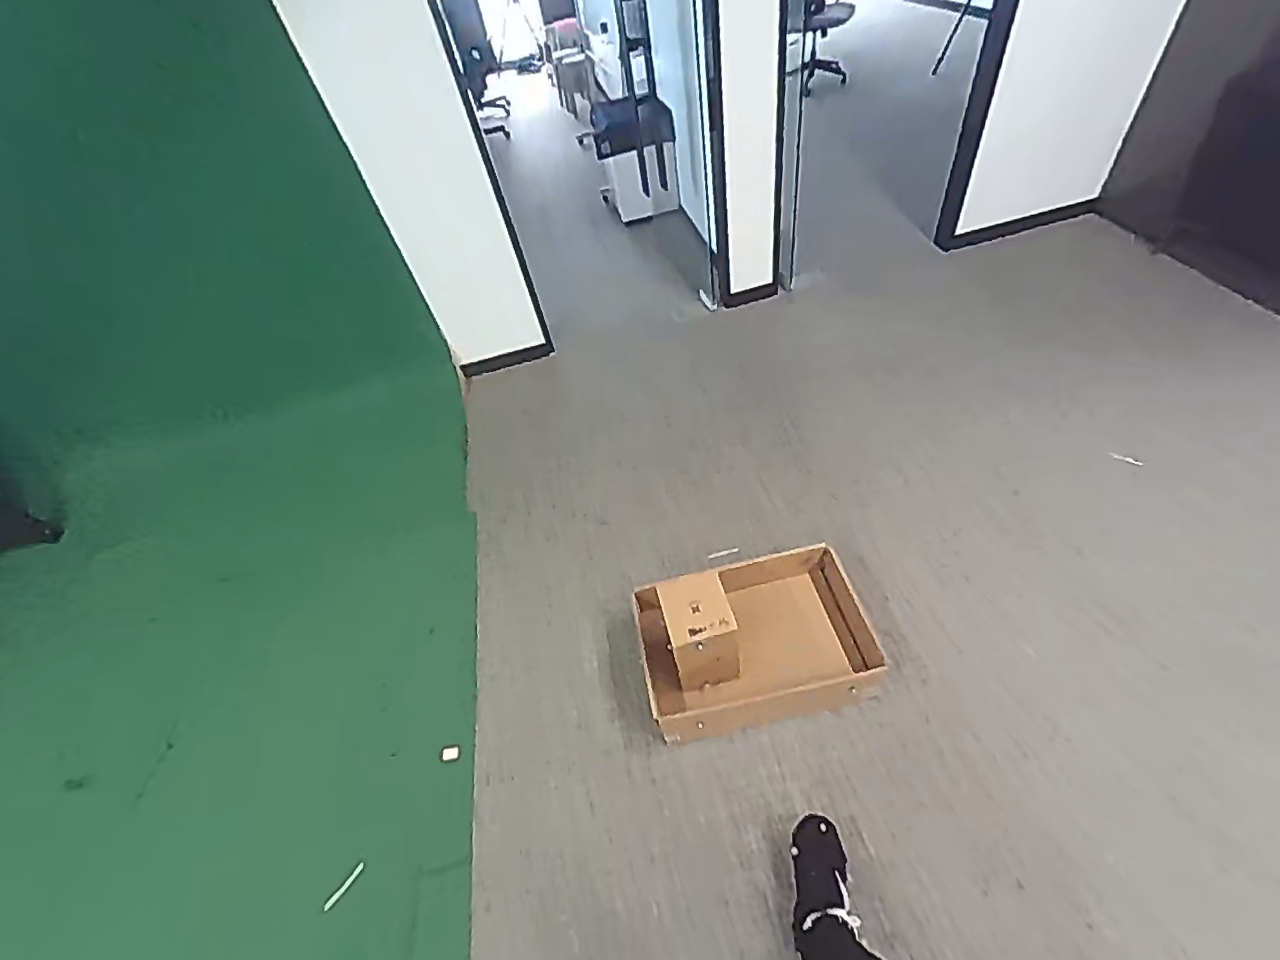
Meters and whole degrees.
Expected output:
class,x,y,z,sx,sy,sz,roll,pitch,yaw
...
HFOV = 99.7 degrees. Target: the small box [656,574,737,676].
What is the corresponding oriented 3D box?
class,x,y,z,sx,sy,sz,roll,pitch,yaw
small box,0.146,0.374,1.393,0.168,0.176,0.179,-15,48,-1
